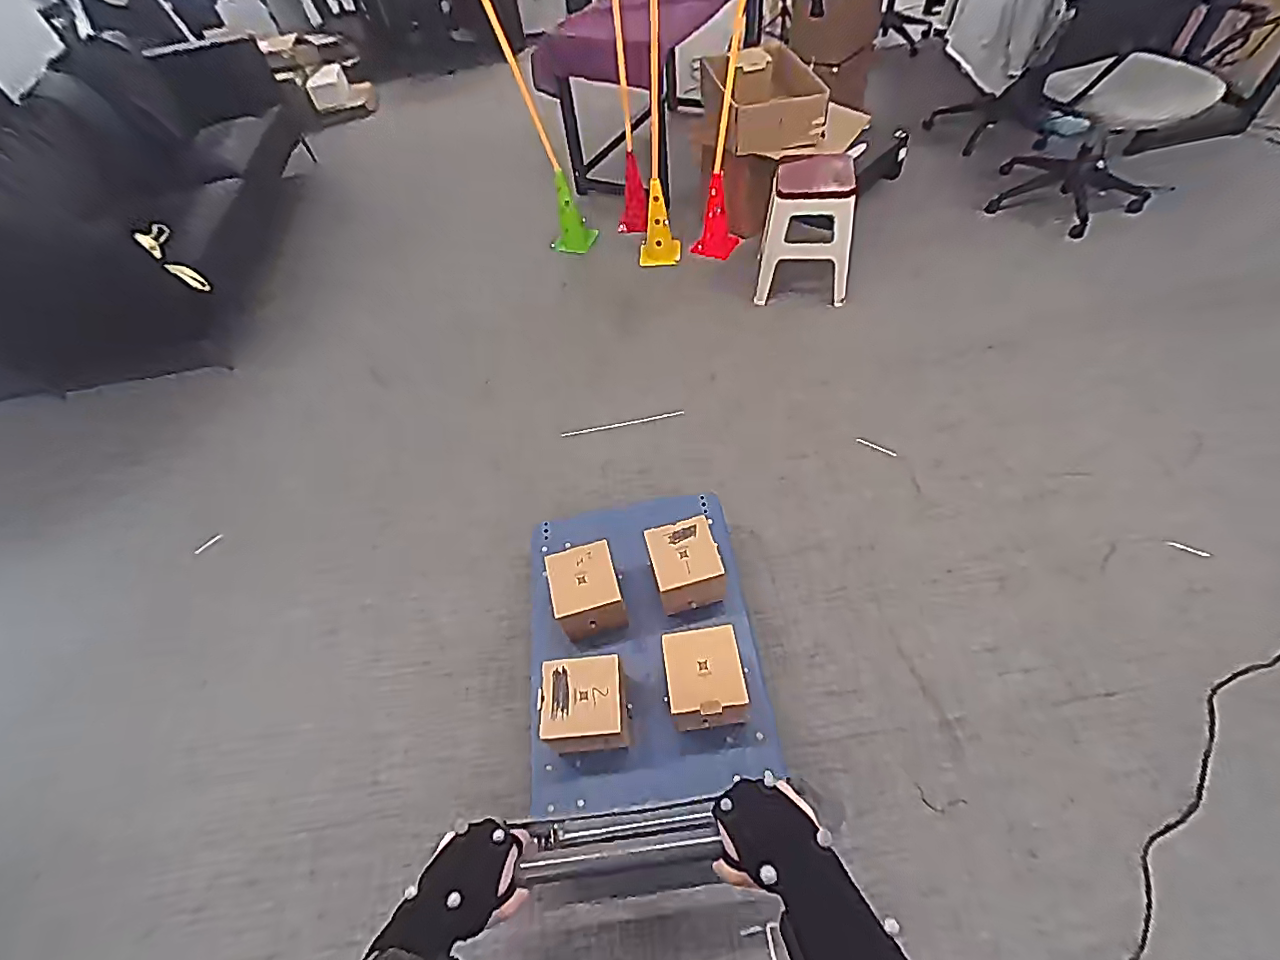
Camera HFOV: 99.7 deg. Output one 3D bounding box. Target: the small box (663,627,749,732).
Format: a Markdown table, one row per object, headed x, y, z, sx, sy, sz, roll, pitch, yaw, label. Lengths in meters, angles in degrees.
| x | y | z | sx | sy | sz | roll | pitch | yaw | label |
| --- | --- | --- | --- | --- | --- | --- | --- | --- | --- |
| 0.147 | 0.461 | 1.245 | 0.168 | 0.176 | 0.179 | -9 | 55 | 1 | small box |

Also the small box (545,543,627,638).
| x | y | z | sx | sy | sz | roll | pitch | yaw | label |
| --- | --- | --- | --- | --- | --- | --- | --- | --- | --- |
| -0.136 | 0.294 | 1.400 | 0.168 | 0.176 | 0.179 | -15 | 54 | -4 | small box |

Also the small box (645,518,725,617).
| x | y | z | sx | sy | sz | roll | pitch | yaw | label |
| --- | --- | --- | --- | --- | --- | --- | --- | --- | --- |
| 0.116 | 0.231 | 1.410 | 0.168 | 0.176 | 0.179 | -15 | 55 | -2 | small box |
